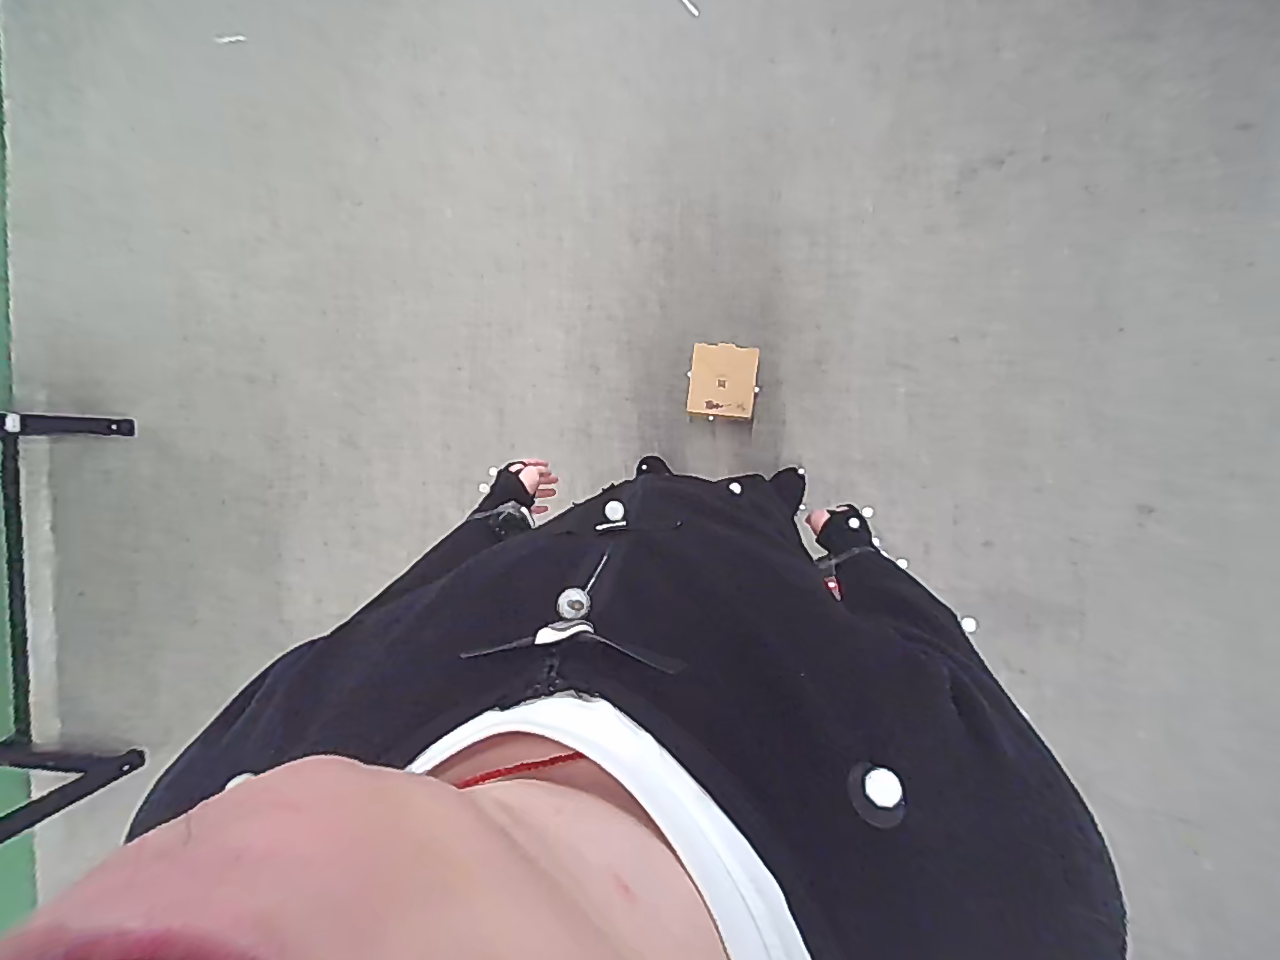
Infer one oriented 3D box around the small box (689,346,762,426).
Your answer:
[{"bbox_3d":[0.224,-0.246,1.441,0.168,0.176,0.179,7,92,7],"label":"small box"}]
